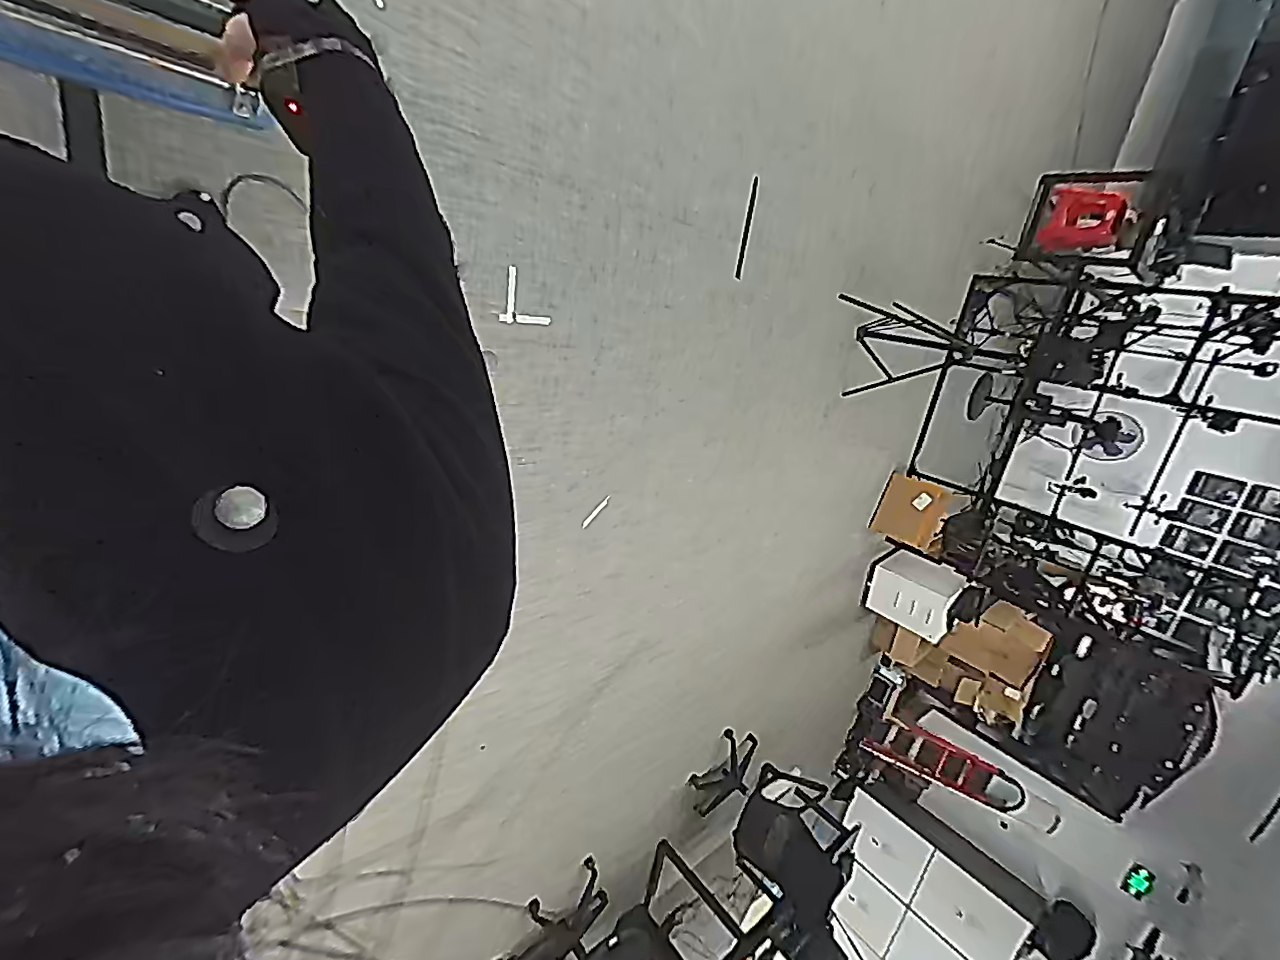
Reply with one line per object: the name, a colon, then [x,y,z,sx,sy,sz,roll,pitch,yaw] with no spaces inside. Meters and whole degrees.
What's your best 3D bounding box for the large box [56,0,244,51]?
large box: [-0.748,-0.794,0.636,0.408,0.320,0.320,-7,116,-44]
